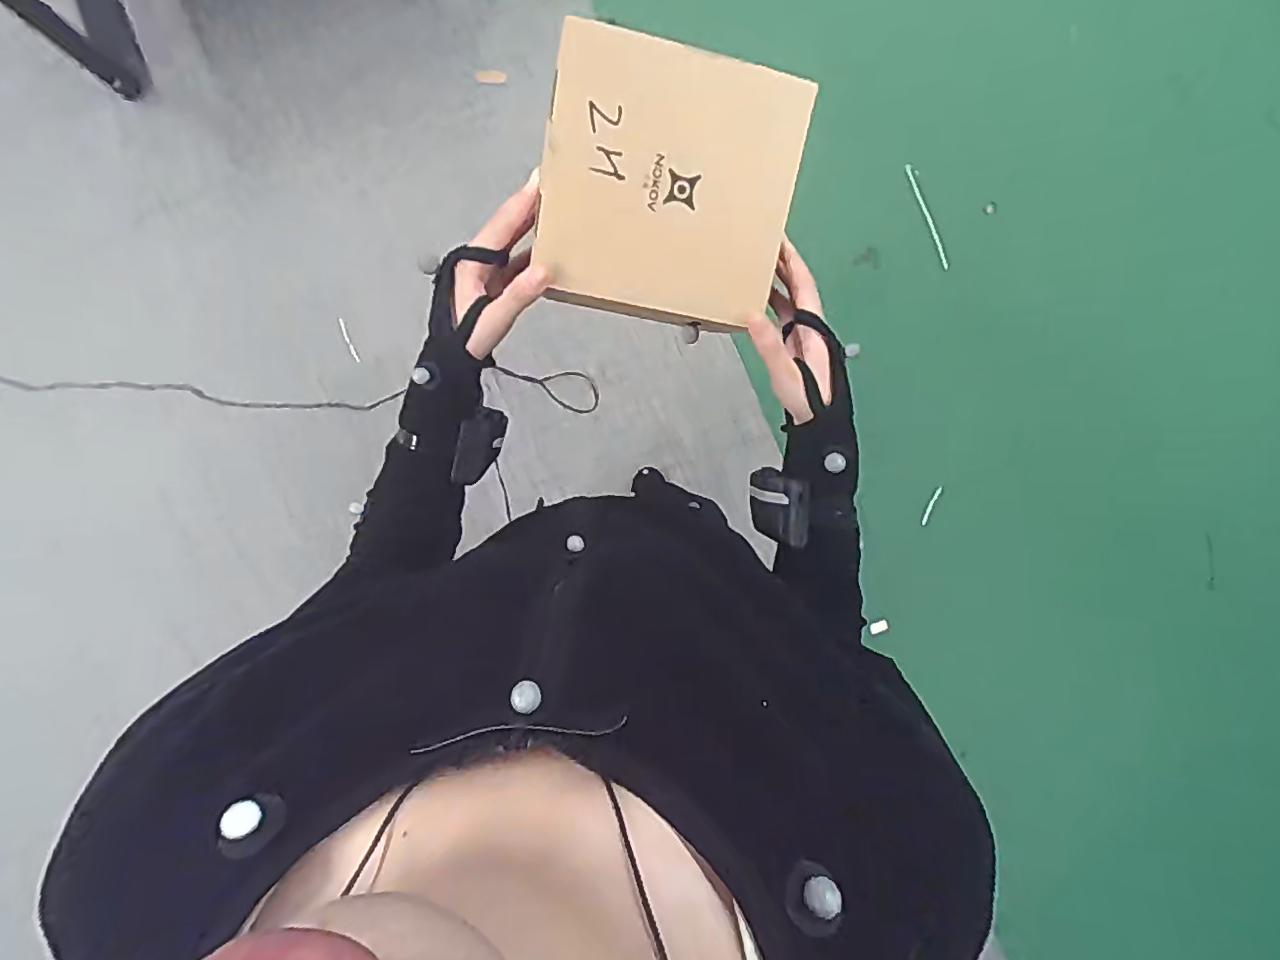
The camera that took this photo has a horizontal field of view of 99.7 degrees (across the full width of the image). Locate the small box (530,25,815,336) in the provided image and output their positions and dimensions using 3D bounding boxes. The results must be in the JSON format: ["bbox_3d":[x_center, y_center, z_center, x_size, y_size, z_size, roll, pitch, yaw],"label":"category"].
[{"bbox_3d":[0.014,-0.222,0.453,0.179,0.176,0.168,9,103,-8],"label":"small box"}]
